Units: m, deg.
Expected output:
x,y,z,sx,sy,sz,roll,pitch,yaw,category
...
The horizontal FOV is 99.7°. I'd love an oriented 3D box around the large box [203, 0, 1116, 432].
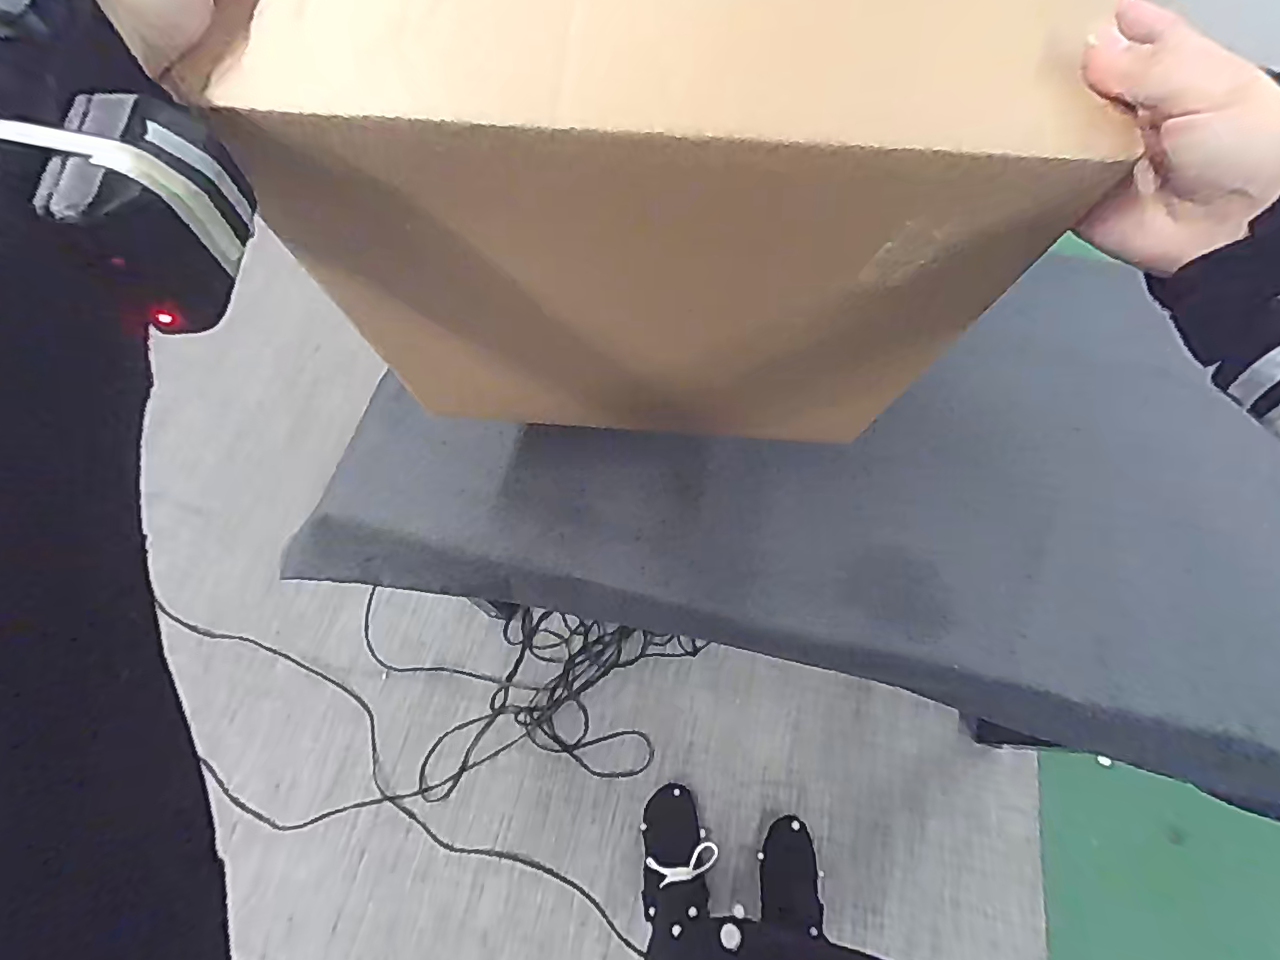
x,y,z,sx,sy,sz,roll,pitch,yaw,category
0.011,-0.242,0.419,0.408,0.320,0.320,4,73,-1,large box
